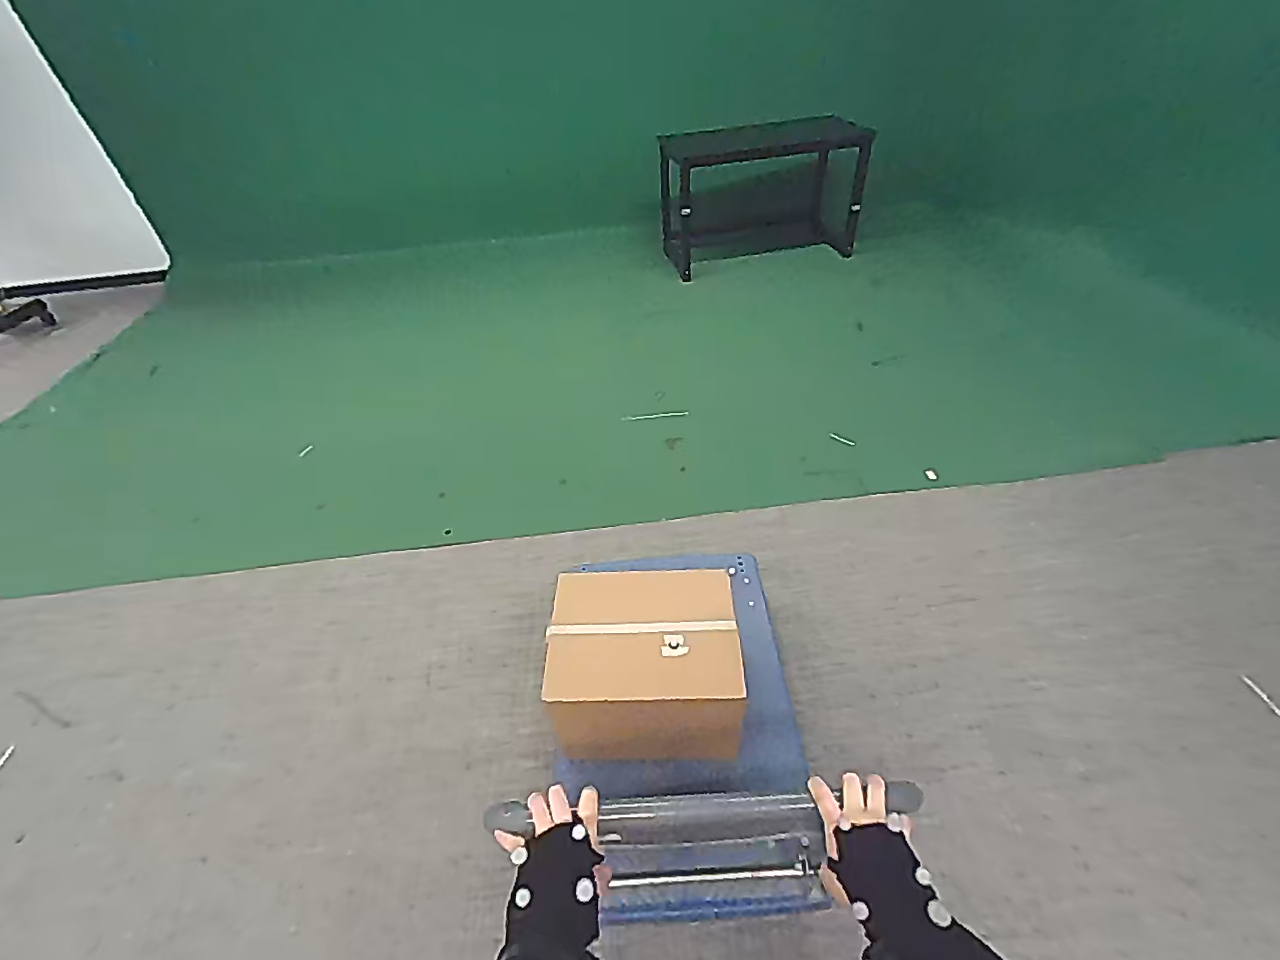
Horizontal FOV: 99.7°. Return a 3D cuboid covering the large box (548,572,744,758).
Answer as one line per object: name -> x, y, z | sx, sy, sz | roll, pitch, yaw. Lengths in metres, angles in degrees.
large box -> 0.015, 0.440, 1.286 | 0.408, 0.320, 0.320 | -2, 43, 2
